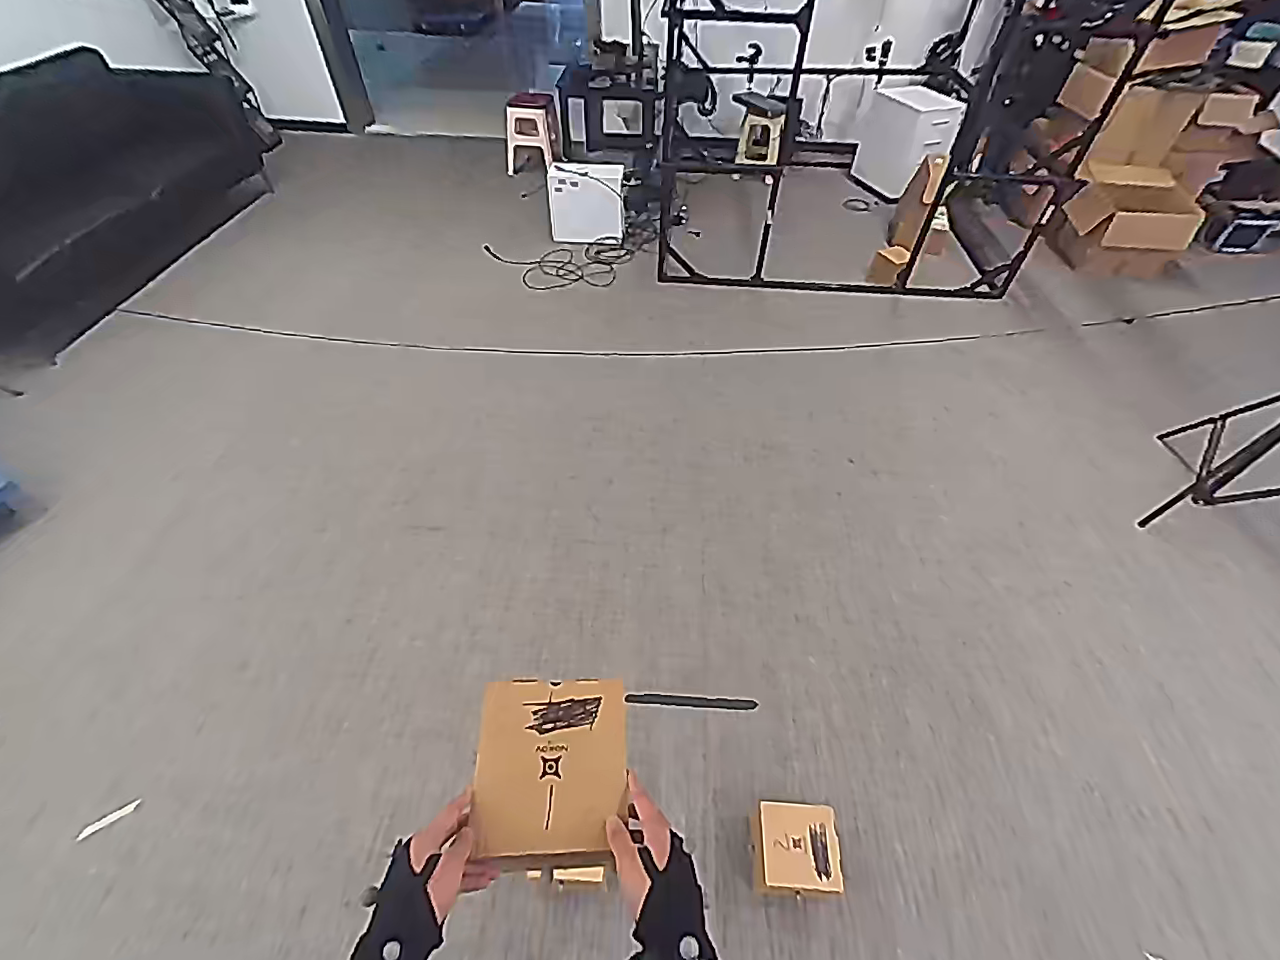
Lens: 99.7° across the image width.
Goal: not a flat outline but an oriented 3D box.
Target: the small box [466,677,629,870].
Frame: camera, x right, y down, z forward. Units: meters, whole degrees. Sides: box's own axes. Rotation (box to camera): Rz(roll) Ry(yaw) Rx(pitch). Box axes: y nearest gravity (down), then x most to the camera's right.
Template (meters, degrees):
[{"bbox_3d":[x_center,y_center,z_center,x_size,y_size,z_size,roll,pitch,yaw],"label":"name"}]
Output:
[{"bbox_3d":[-0.103,0.355,0.654,0.168,0.176,0.179,1,51,-5],"label":"small box"}]

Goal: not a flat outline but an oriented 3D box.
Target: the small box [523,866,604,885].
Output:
[{"bbox_3d":[-0.169,0.866,1.306,0.179,0.176,0.168,3,49,2],"label":"small box"}]
